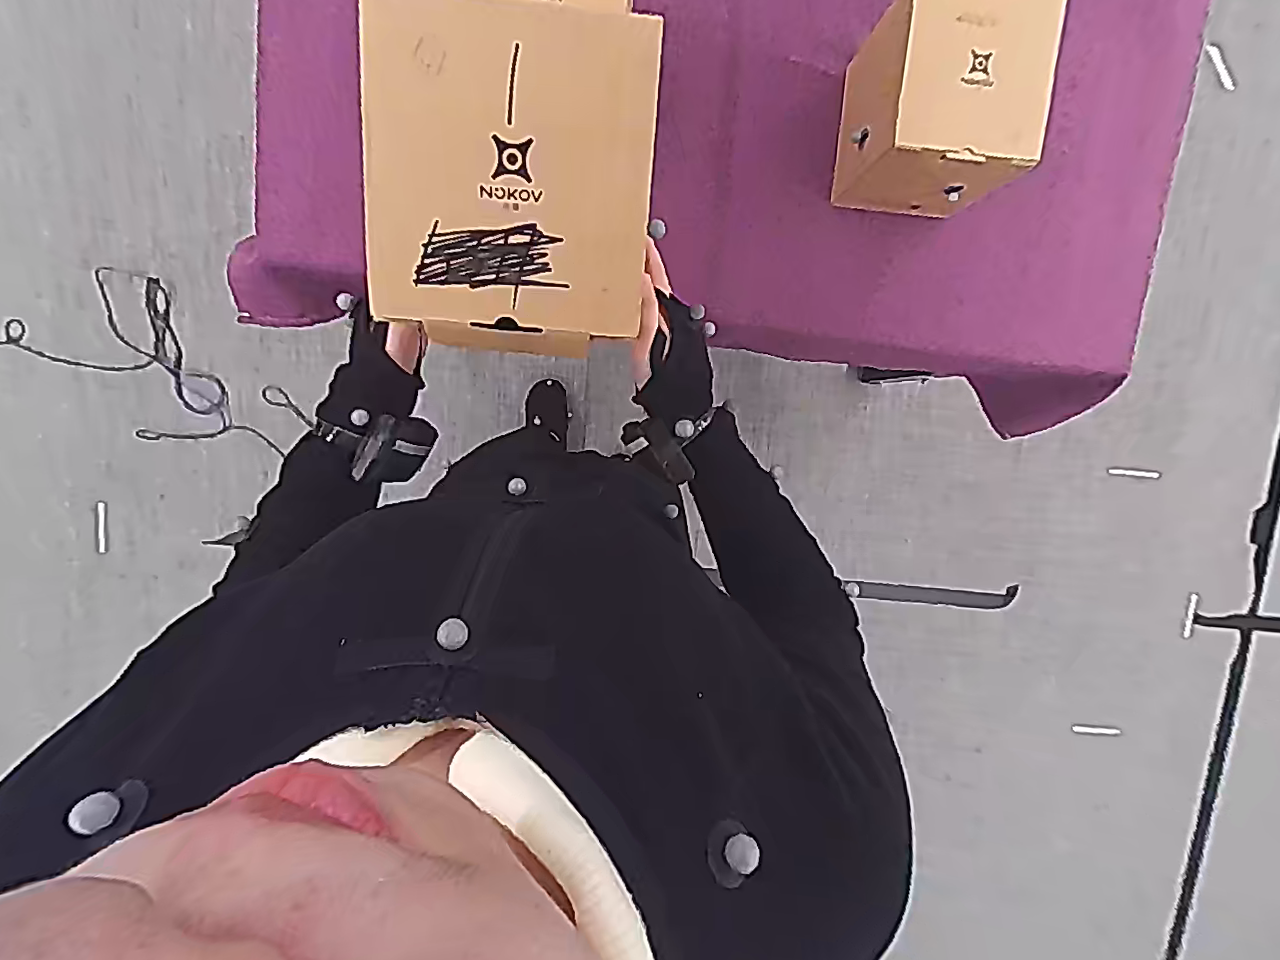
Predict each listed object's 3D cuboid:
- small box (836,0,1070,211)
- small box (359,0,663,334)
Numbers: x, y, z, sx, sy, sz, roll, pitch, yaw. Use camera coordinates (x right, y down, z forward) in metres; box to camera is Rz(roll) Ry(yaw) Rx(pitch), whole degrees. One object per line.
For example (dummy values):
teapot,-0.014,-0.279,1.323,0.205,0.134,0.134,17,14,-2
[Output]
small box,0.350,-0.442,0.641,0.168,0.176,0.179,5,97,-4
small box,-0.079,-0.202,0.389,0.168,0.176,0.179,4,104,-4
